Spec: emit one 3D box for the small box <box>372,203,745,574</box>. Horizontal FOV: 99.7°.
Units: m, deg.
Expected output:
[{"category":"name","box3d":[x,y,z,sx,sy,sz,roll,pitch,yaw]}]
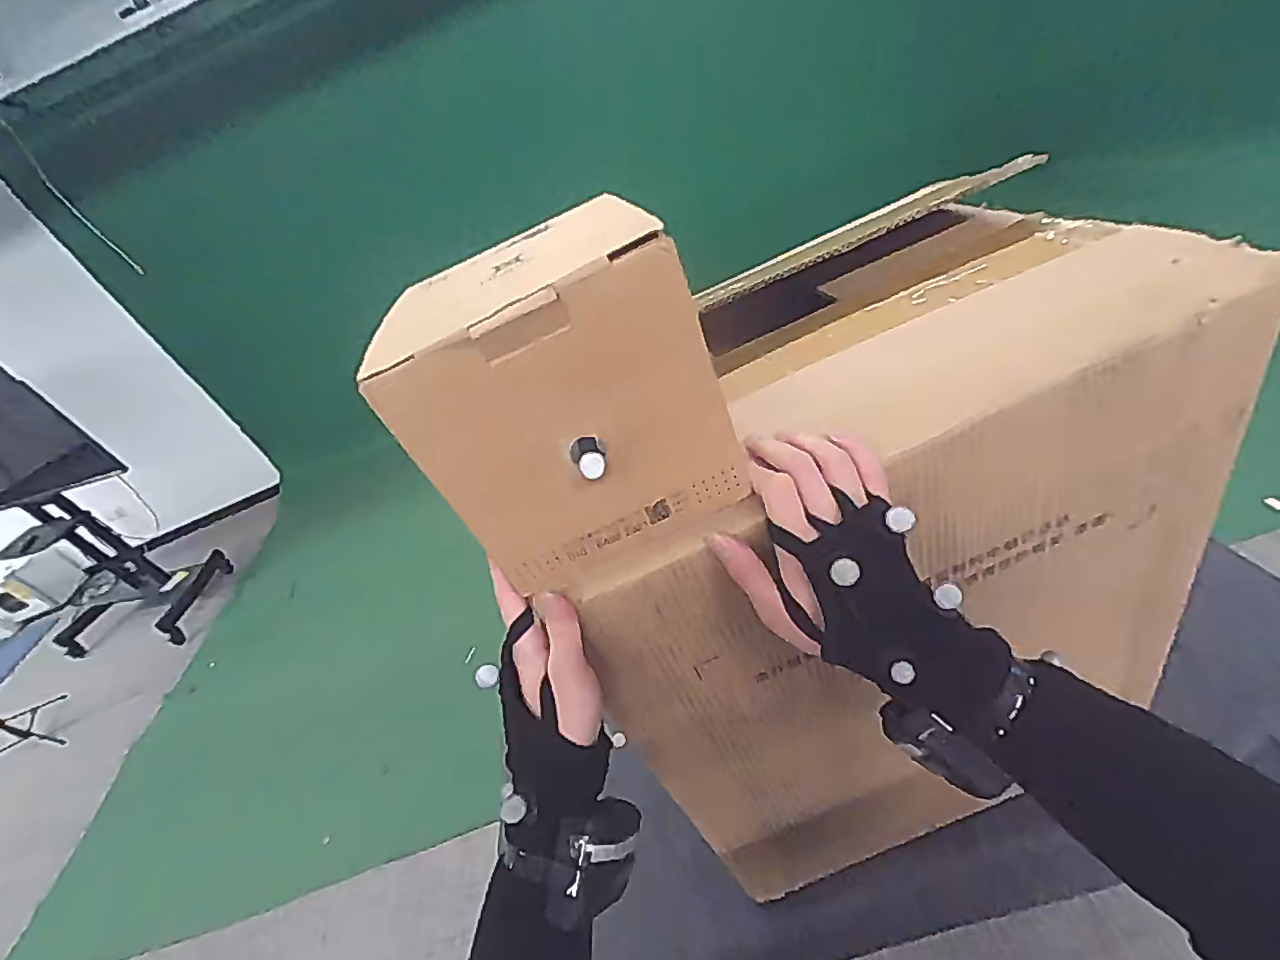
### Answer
[{"category":"small box","box3d":[-0.046,-0.059,0.370,0.168,0.176,0.179,-24,36,1]}]
